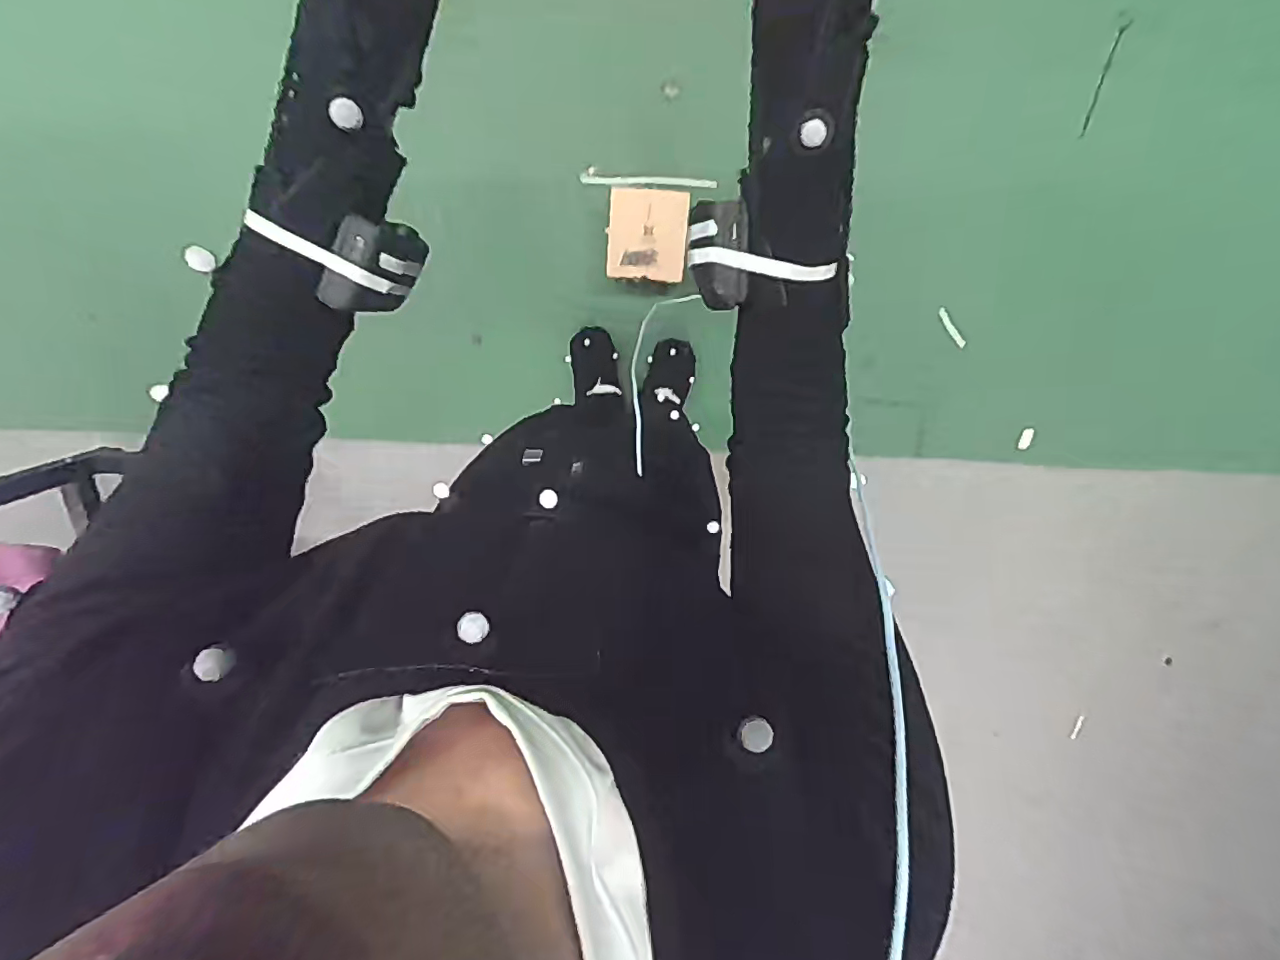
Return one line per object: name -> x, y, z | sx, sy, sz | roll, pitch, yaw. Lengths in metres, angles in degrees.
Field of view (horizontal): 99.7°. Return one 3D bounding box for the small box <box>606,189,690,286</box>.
small box -> 0.018, -0.536, 1.216 | 0.168, 0.176, 0.179 | 5, 109, -1
